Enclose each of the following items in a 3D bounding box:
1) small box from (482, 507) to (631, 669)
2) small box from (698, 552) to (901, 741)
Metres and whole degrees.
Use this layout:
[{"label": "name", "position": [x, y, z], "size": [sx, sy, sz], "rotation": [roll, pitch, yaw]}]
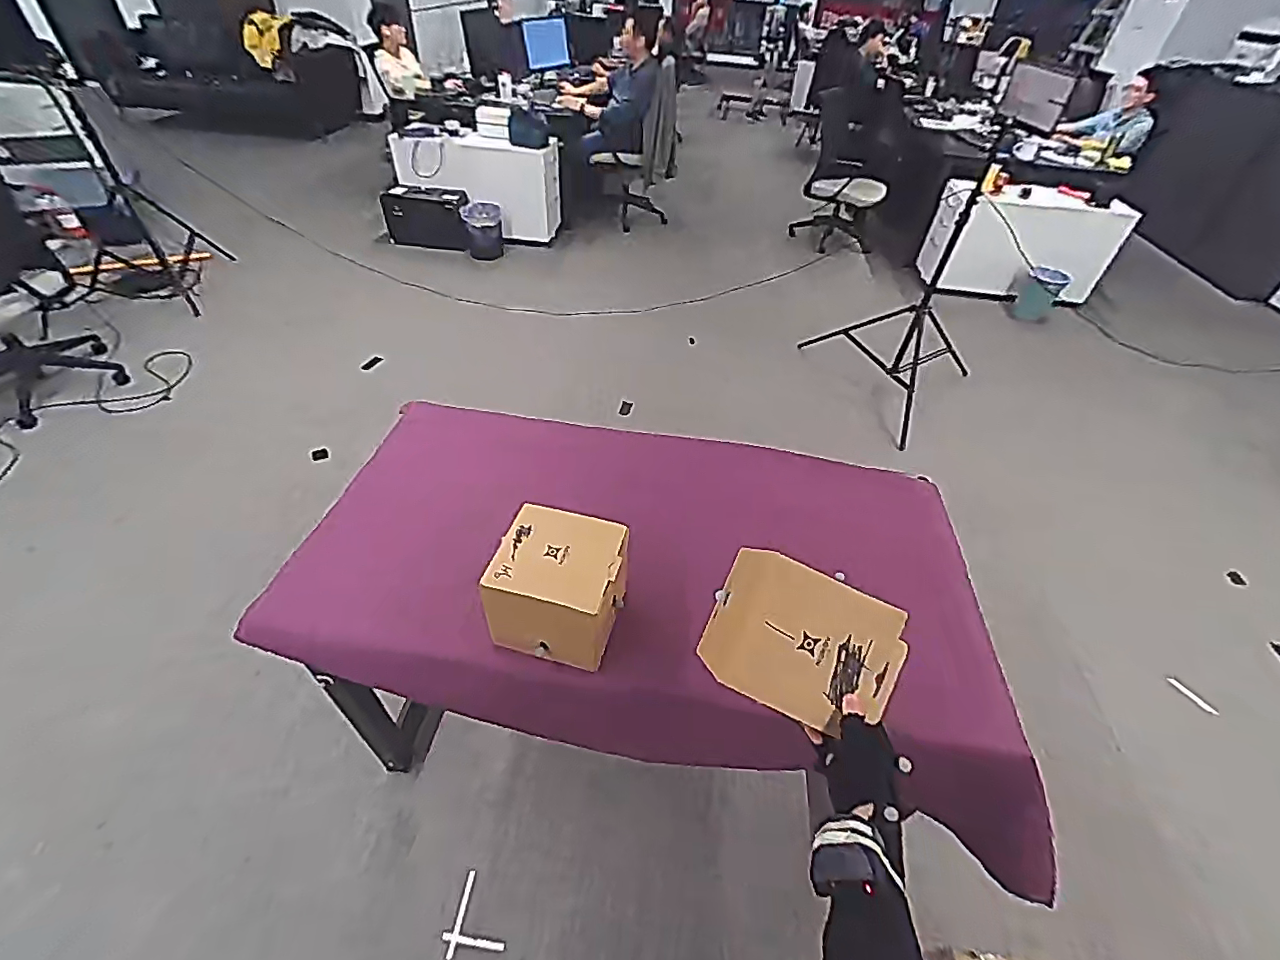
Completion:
[{"label": "small box", "position": [-0.124, 0.173, 0.853], "size": [0.179, 0.176, 0.168], "rotation": [13, 43, 8]}, {"label": "small box", "position": [0.194, 0.201, 0.707], "size": [0.179, 0.176, 0.168], "rotation": [25, 81, 1]}]
